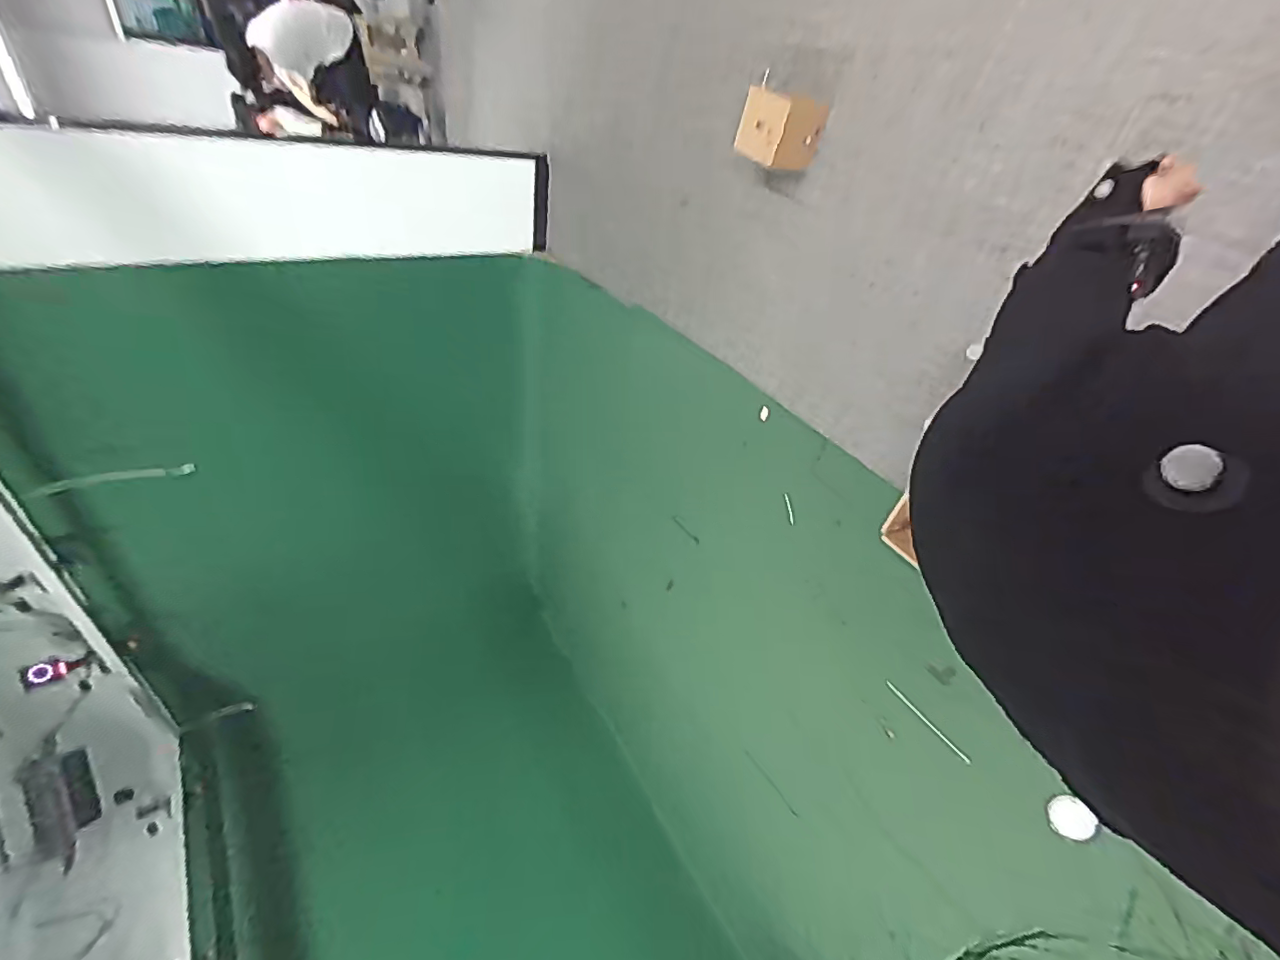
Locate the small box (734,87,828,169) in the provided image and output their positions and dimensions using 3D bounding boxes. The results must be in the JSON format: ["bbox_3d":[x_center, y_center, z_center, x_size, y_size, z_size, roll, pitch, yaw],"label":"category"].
[{"bbox_3d":[0.416,-1.038,1.604,0.179,0.176,0.168,50,142,33],"label":"small box"}]
